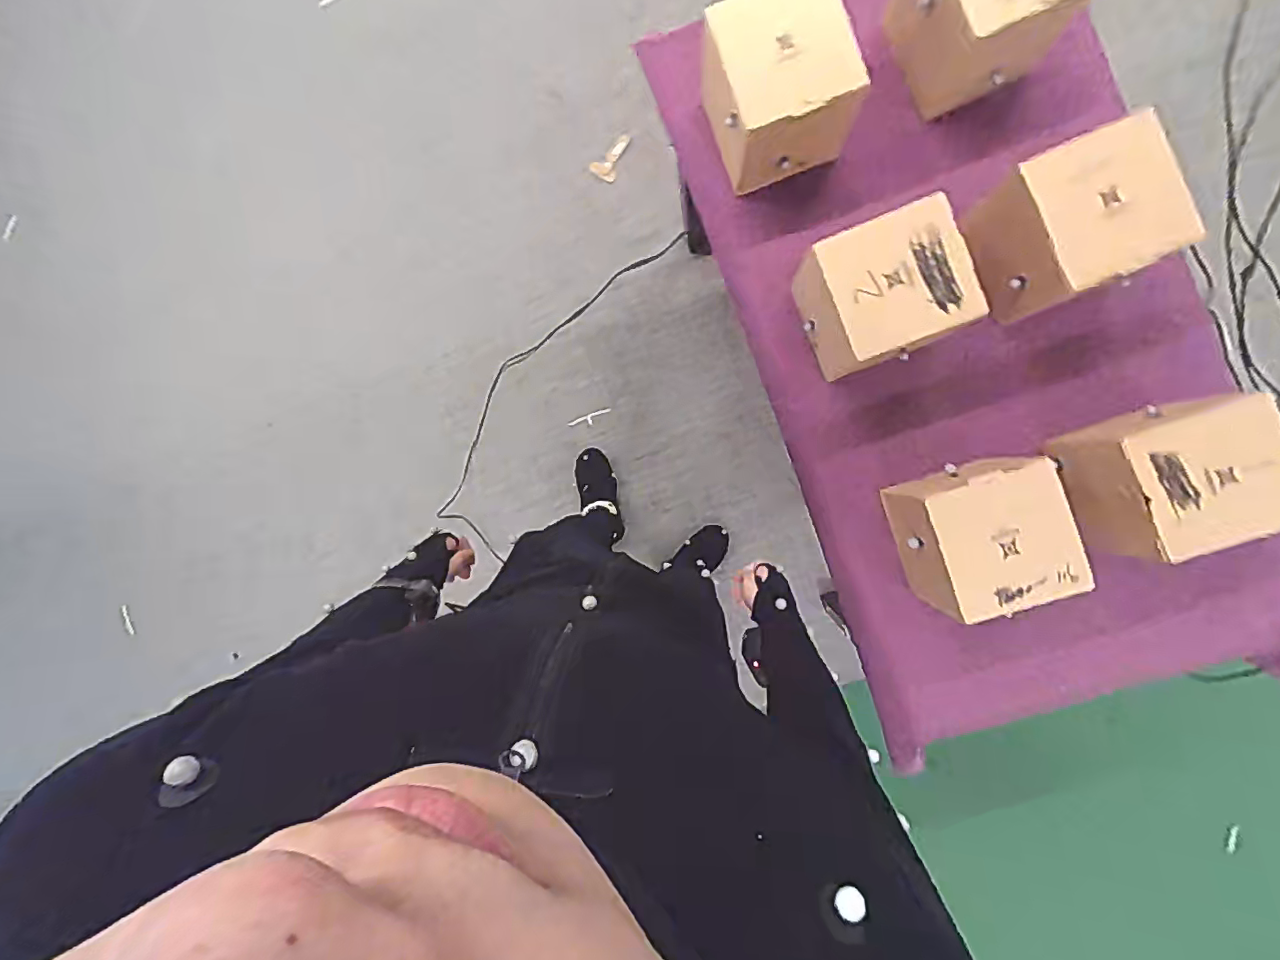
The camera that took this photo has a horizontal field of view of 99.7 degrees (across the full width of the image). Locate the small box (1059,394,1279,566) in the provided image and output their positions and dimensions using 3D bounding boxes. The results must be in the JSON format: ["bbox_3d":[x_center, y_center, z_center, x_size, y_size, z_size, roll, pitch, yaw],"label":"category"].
[{"bbox_3d":[0.707,0.001,0.719,0.179,0.176,0.168,-19,89,7],"label":"small box"}]

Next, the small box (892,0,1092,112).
[{"bbox_3d":[0.470,-0.655,0.727,0.168,0.176,0.179,-23,89,8],"label":"small box"}]

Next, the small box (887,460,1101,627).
[{"bbox_3d":[0.470,0.080,0.750,0.168,0.176,0.179,-18,89,7],"label":"small box"}]

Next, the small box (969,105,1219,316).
[{"bbox_3d":[0.586,-0.338,0.725,0.168,0.176,0.179,-21,89,7],"label":"small box"}]

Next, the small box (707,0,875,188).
[{"bbox_3d":[0.198,-0.558,0.763,0.168,0.176,0.179,-19,90,6],"label":"small box"}]
